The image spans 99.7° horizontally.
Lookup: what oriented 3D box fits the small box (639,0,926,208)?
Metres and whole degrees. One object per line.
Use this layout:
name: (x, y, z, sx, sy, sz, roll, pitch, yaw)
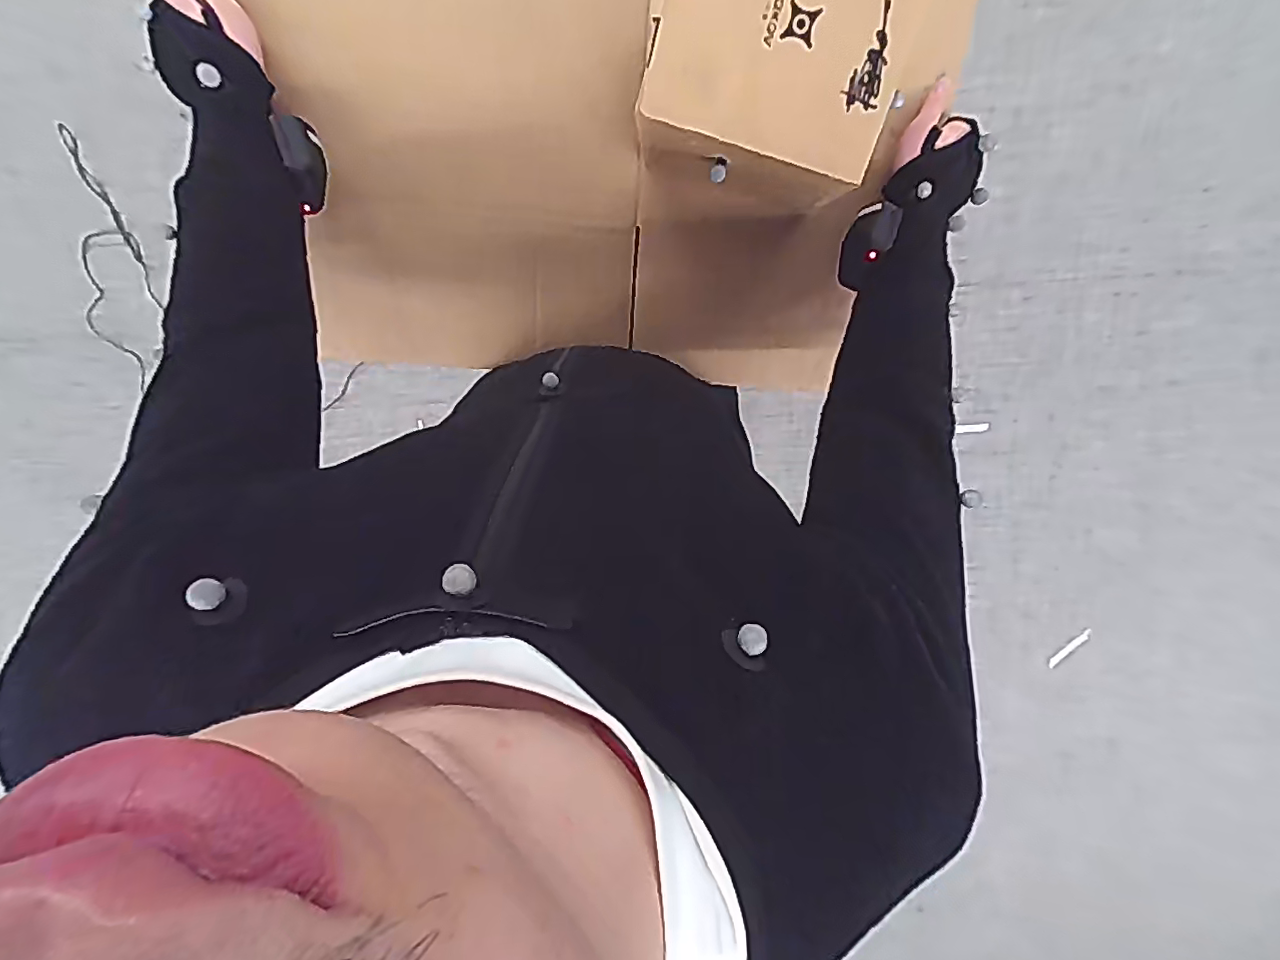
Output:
small box: (0.109, -0.347, 0.455, 0.179, 0.176, 0.168, 16, 109, -2)
